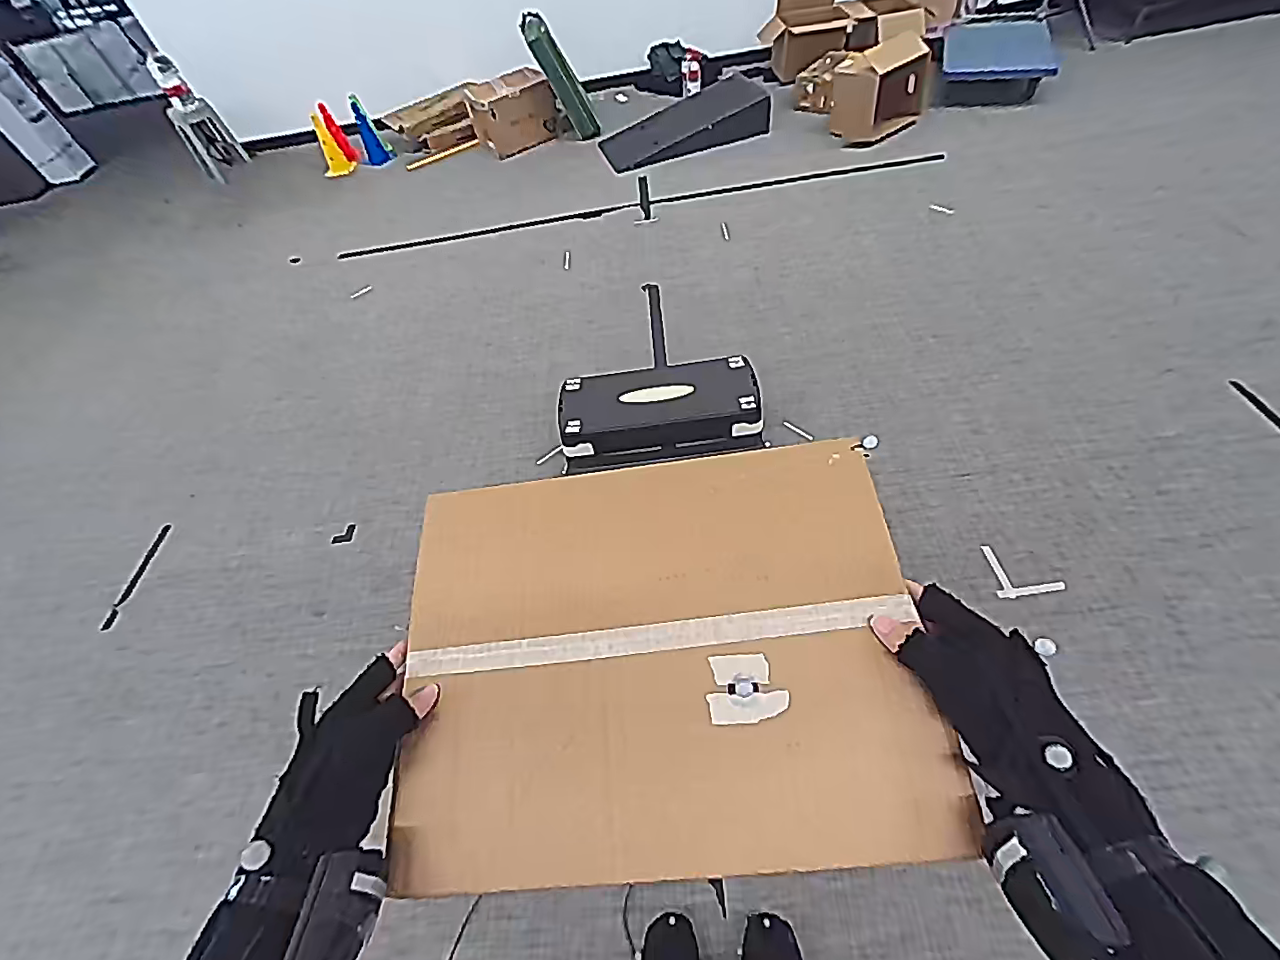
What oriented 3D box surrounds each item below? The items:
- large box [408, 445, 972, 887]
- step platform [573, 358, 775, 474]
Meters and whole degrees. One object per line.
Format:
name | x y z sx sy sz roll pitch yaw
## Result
large box | 0.033 0.198 0.573 0.408 0.320 0.320 -8 62 5
step platform | 0.113 -0.225 1.865 0.684 0.204 0.286 -7 52 3
